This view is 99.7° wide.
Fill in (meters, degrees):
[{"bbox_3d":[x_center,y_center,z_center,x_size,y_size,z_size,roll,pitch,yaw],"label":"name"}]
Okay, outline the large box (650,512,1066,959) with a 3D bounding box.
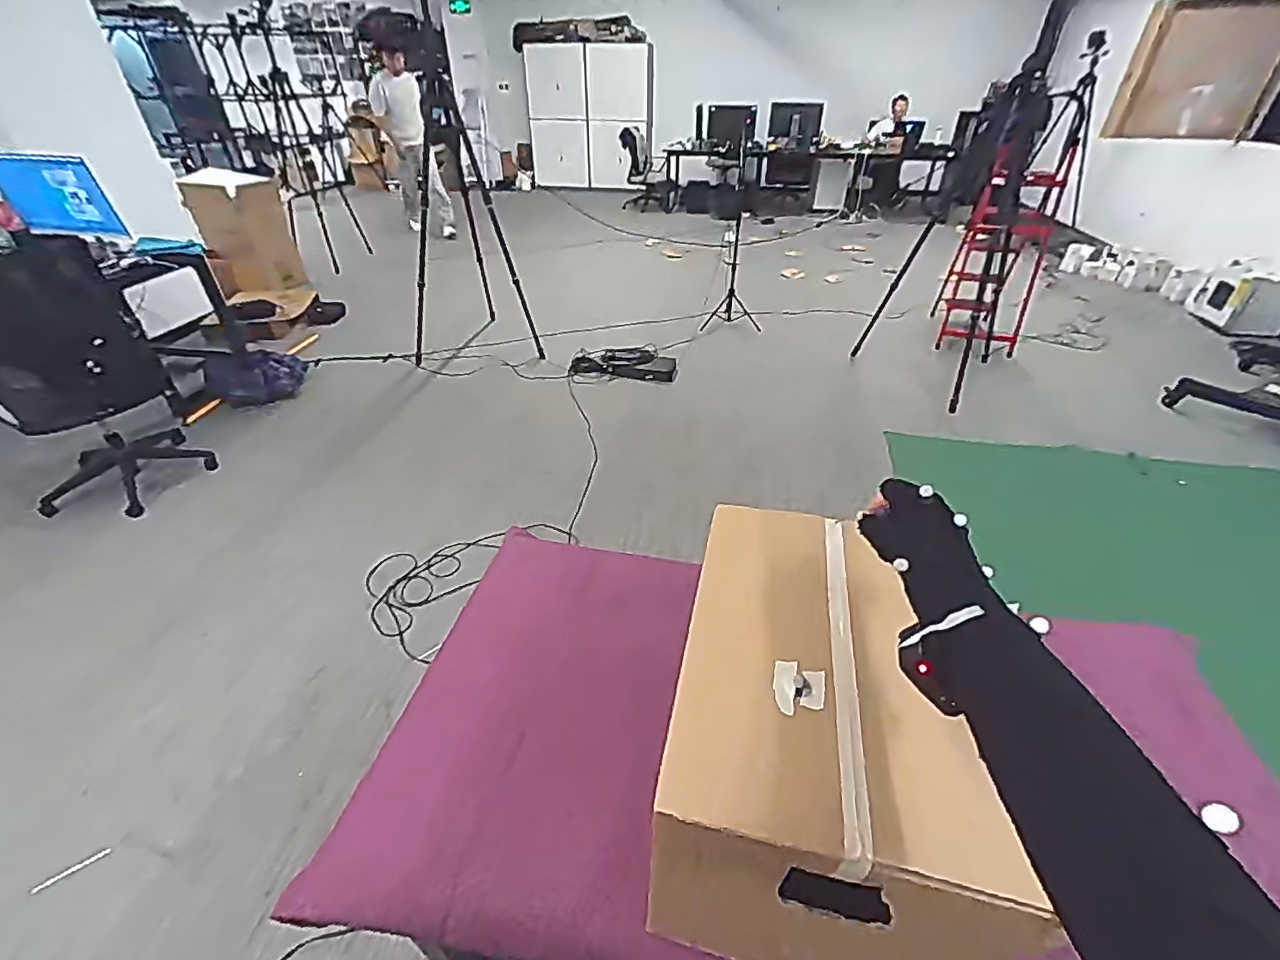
[{"bbox_3d":[0.204,0.300,0.662,0.320,0.320,0.408,8,38,11],"label":"large box"}]
